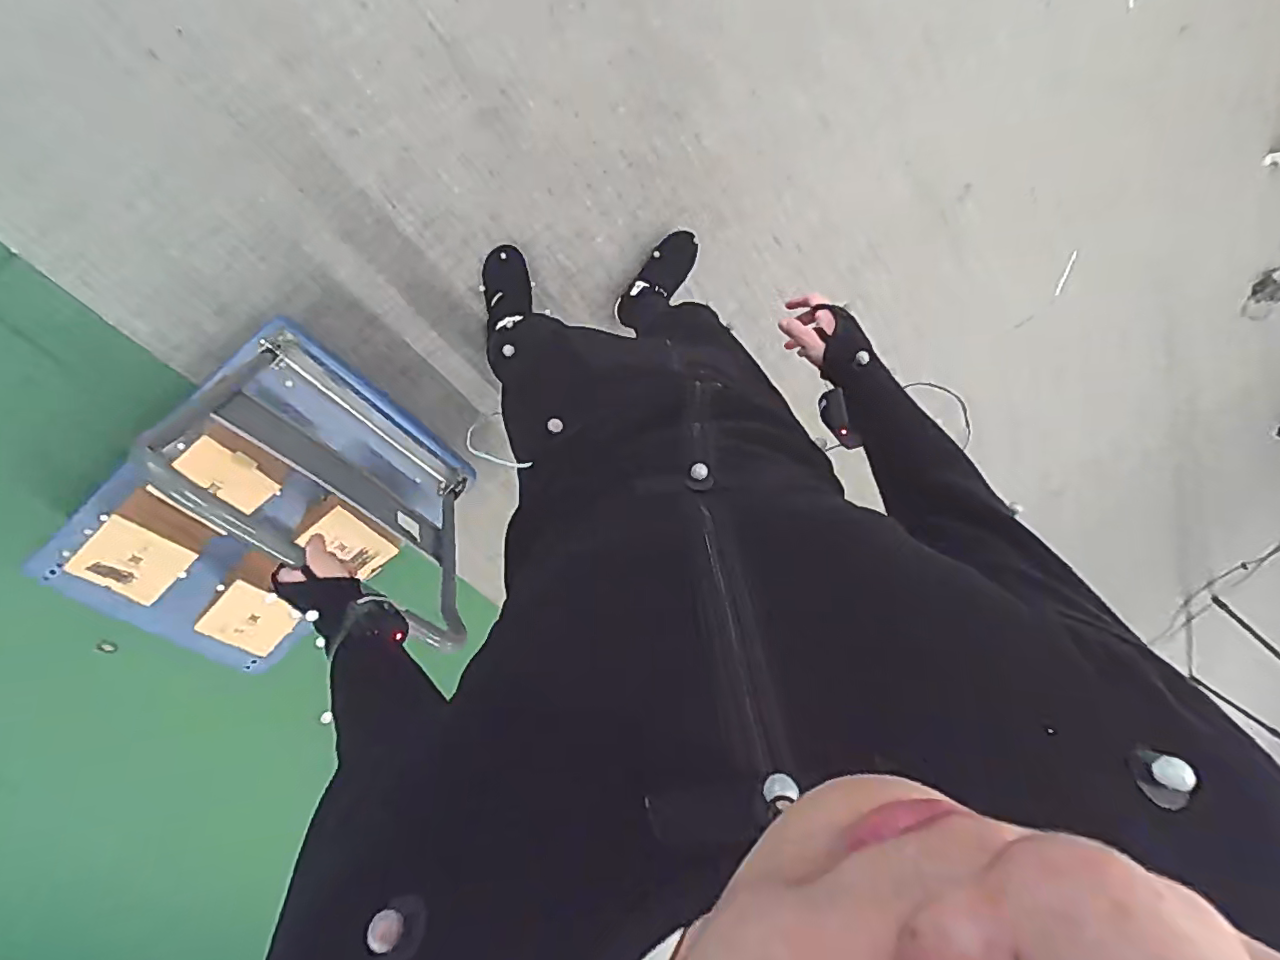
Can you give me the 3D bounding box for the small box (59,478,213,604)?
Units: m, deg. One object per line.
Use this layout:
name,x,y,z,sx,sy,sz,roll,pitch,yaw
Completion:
small box,-1.076,0.129,1.182,0.179,0.176,0.168,-42,122,7

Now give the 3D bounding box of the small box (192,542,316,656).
small box,-0.923,0.283,1.315,0.179,0.176,0.168,-44,121,8

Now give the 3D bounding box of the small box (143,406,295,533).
small box,-0.884,-0.027,1.159,0.179,0.176,0.168,-39,122,5
